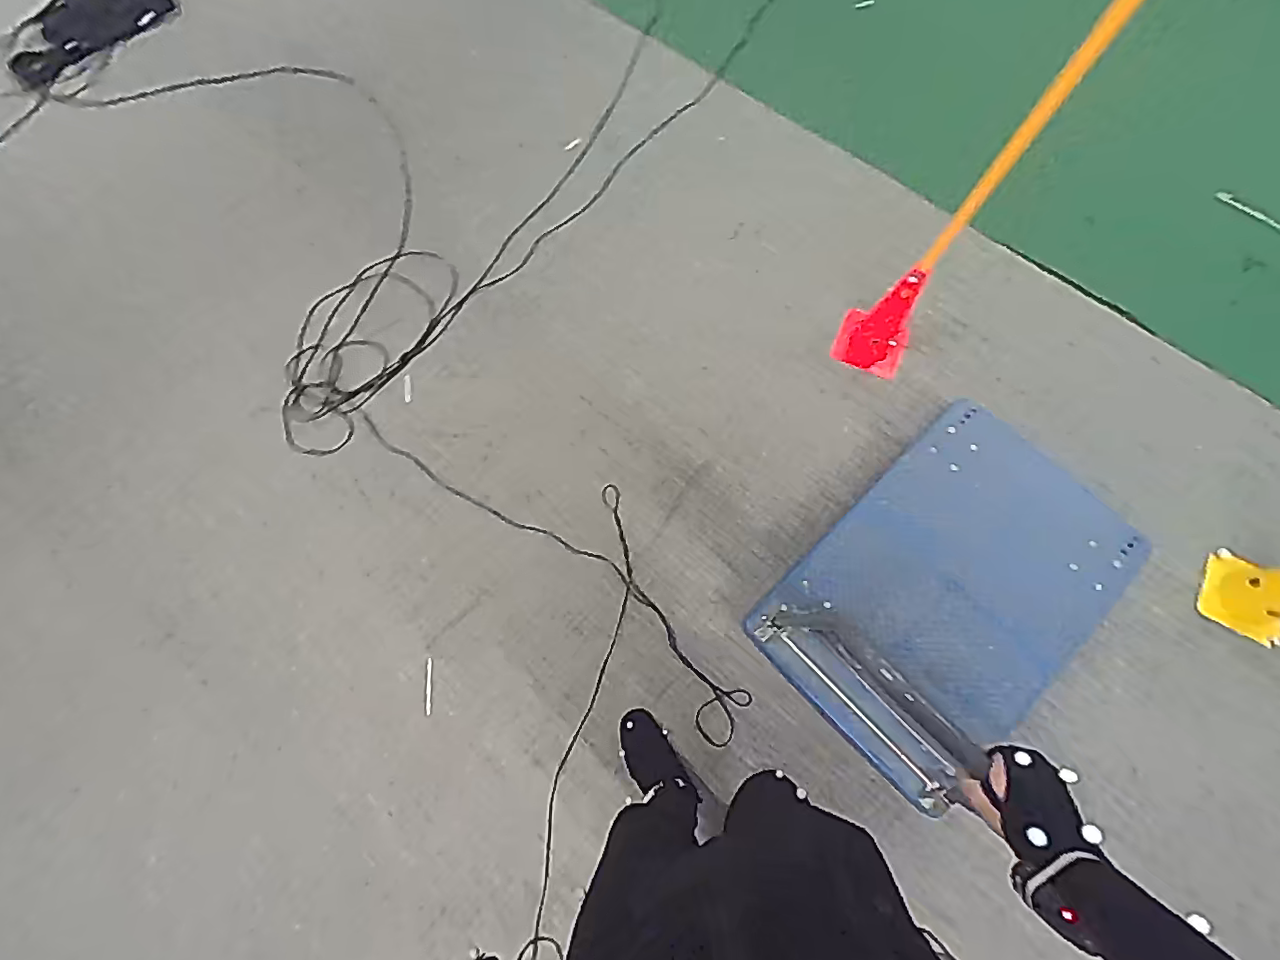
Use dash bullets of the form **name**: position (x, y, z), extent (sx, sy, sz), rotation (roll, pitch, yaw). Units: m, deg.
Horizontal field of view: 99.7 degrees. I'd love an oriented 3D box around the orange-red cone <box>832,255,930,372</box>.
- **orange-red cone**: position (0.714, -0.496, 1.527), extent (0.199, 0.360, 0.198), rotation (25, 74, 10)
